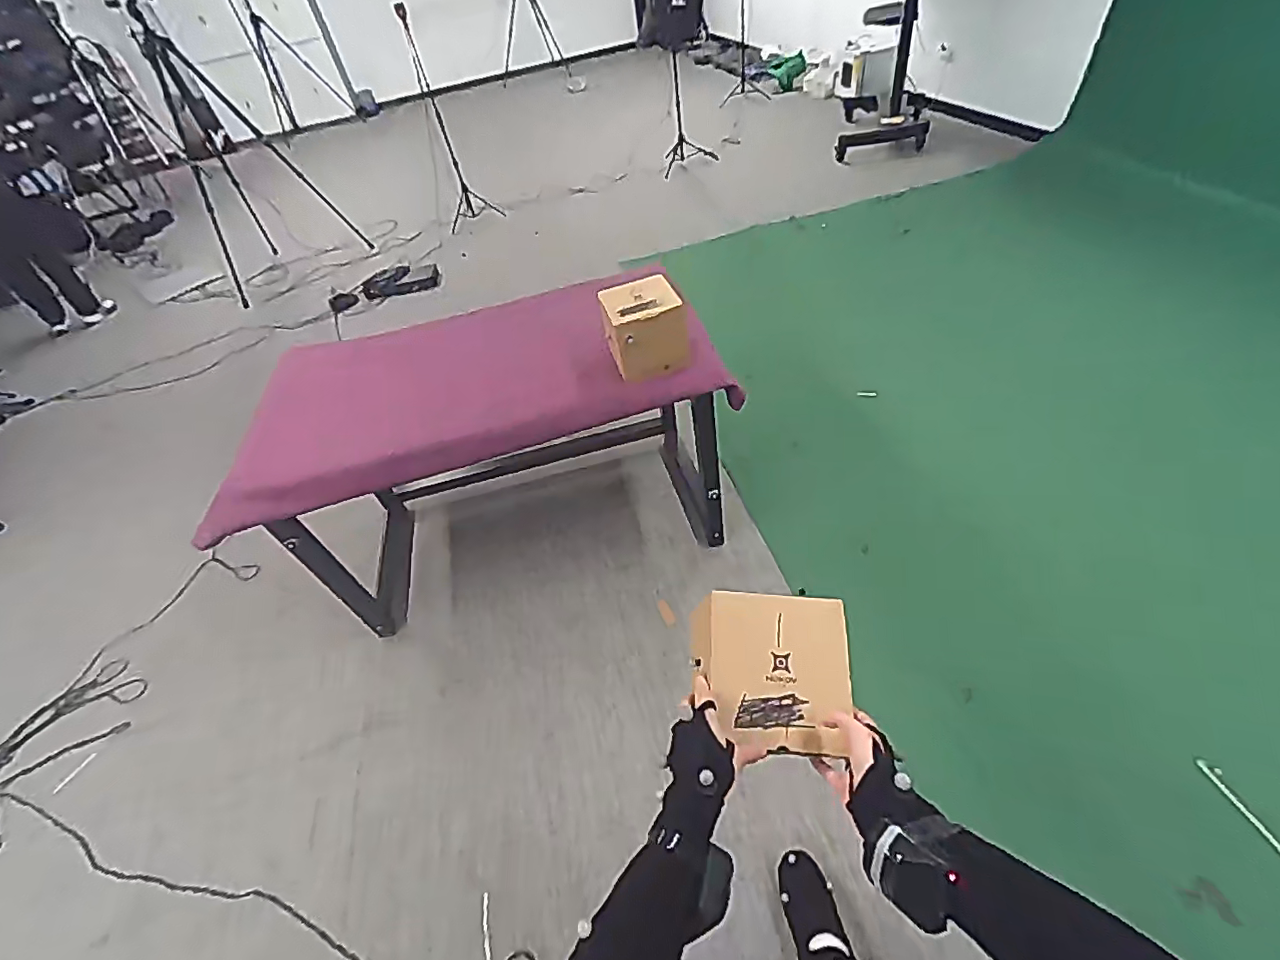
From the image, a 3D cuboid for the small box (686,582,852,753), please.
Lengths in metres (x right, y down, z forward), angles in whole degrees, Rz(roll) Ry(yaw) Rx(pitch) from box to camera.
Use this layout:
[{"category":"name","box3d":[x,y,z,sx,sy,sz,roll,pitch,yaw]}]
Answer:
[{"category":"small box","box3d":[0.153,0.241,0.692,0.168,0.176,0.179,5,66,-2]}]
